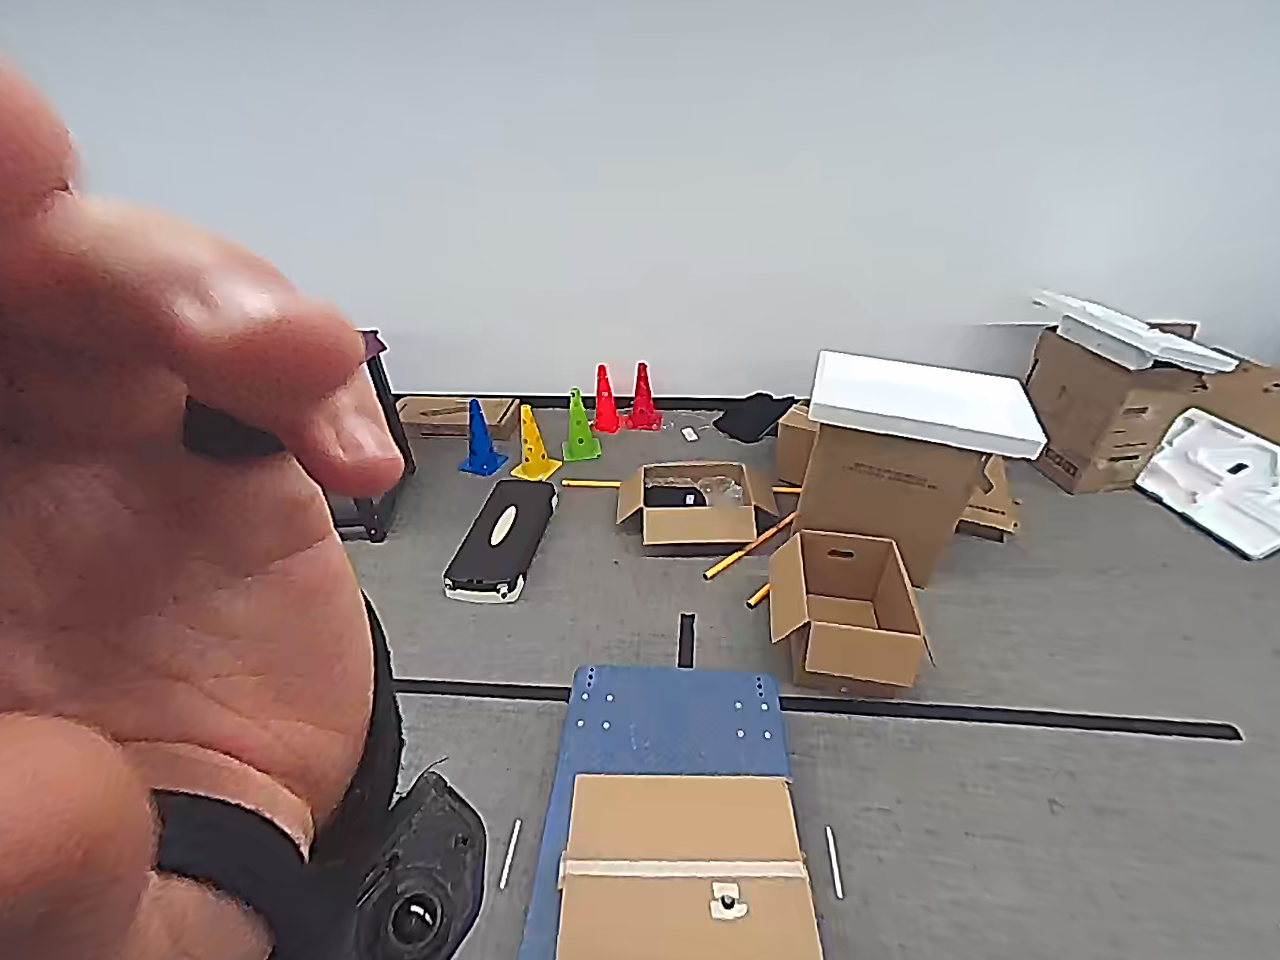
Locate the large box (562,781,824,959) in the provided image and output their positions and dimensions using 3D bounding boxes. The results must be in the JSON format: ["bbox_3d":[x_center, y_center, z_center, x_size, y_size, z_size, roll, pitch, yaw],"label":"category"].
[{"bbox_3d":[0.078,0.786,0.990,0.408,0.320,0.320,1,35,0],"label":"large box"}]
